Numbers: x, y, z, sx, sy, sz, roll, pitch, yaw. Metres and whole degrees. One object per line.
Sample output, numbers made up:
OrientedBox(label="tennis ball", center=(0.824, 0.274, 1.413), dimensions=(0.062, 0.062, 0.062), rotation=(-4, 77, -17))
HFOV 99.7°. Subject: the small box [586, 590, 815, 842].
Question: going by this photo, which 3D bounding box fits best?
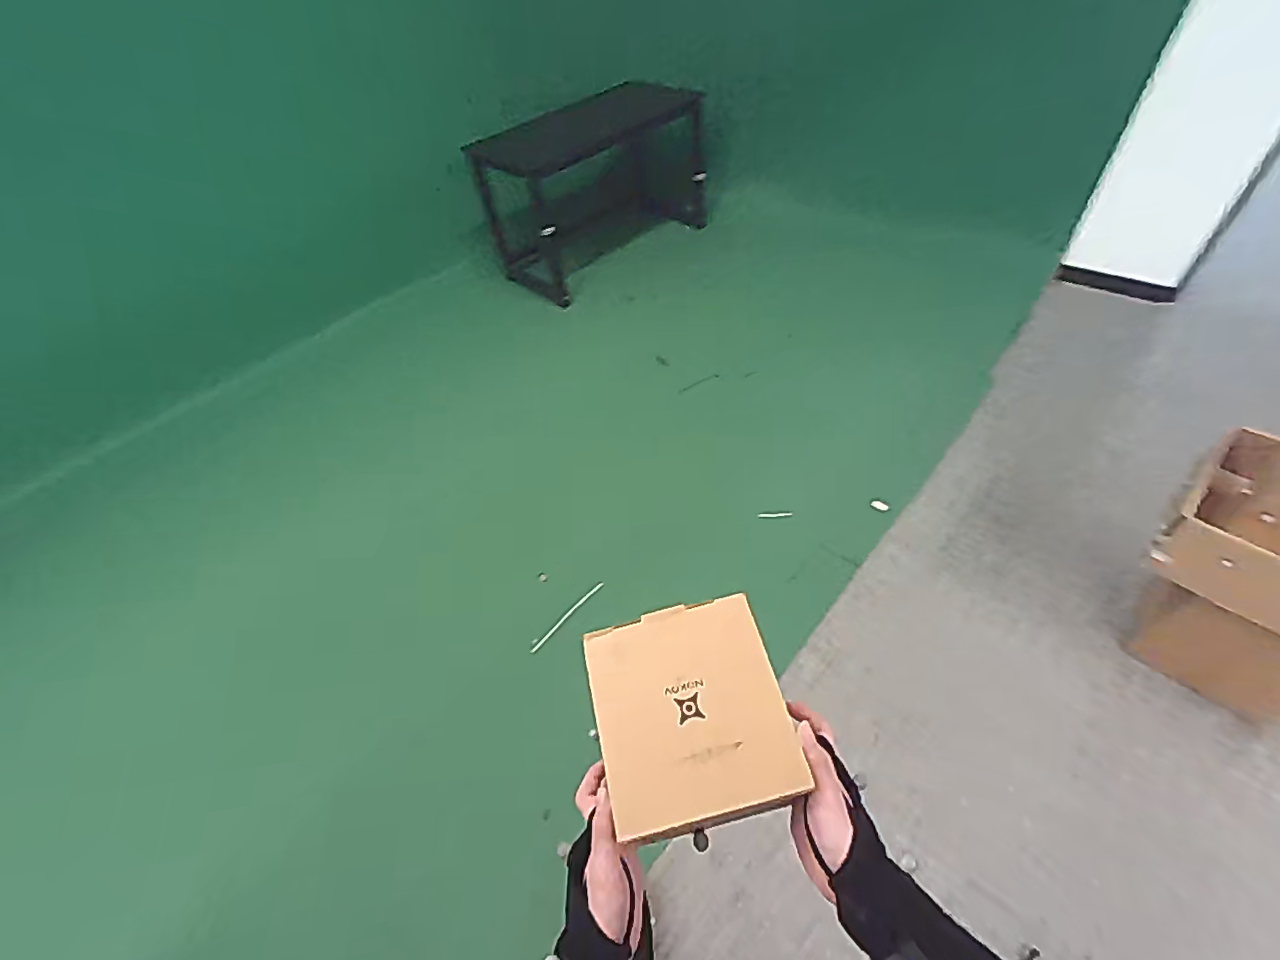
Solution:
OrientedBox(label="small box", center=(0.050, 0.236, 0.533), dimensions=(0.168, 0.176, 0.179), rotation=(-13, 55, -2))
